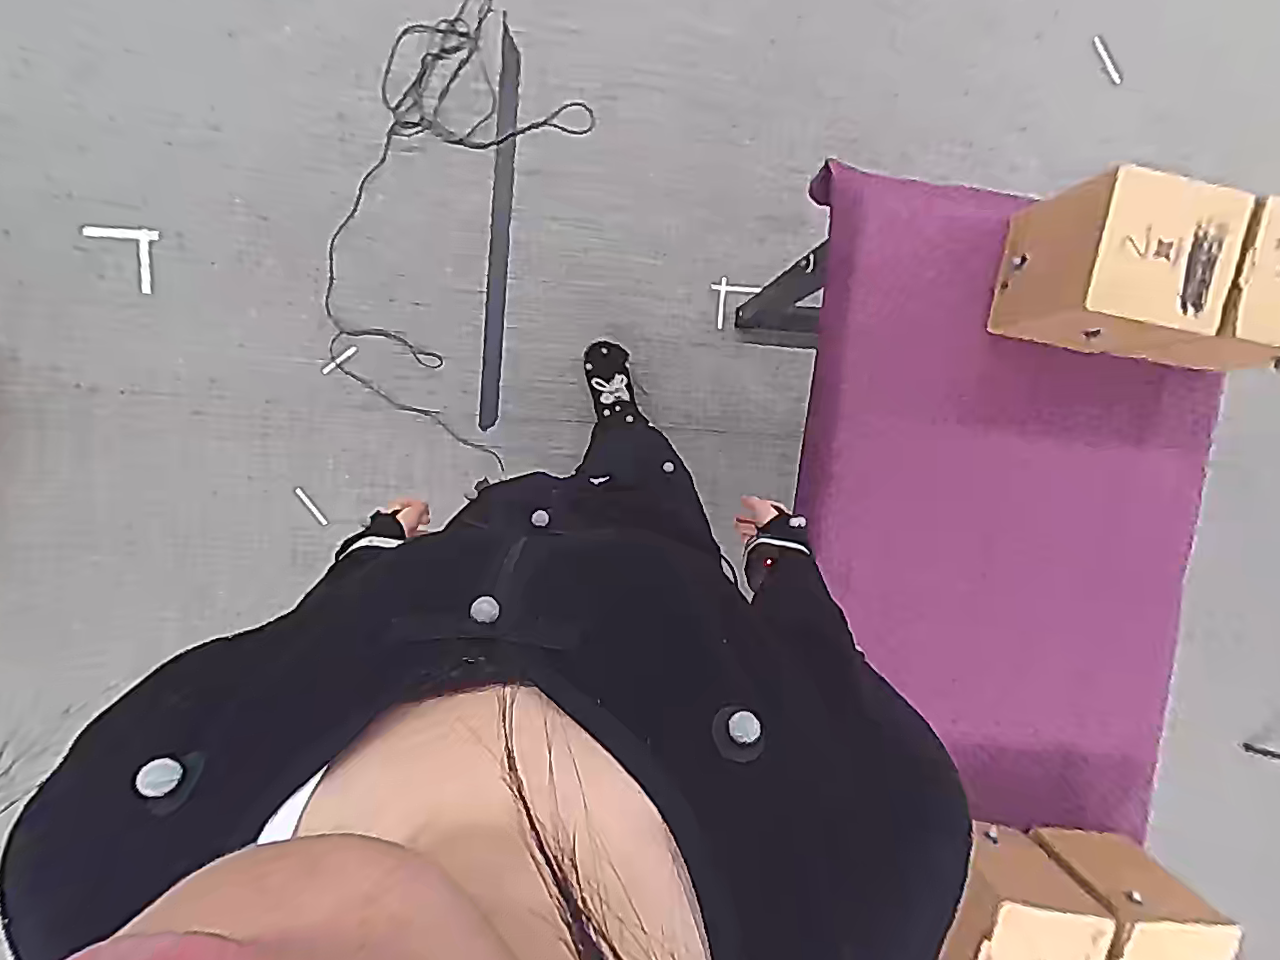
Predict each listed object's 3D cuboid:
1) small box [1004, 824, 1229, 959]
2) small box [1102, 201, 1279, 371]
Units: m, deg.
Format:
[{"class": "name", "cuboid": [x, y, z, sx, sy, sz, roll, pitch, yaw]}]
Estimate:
[{"class": "small box", "cuboid": [0.712, 0.664, 0.827, 0.179, 0.176, 0.168, 8, 96, -7]}, {"class": "small box", "cuboid": [0.795, -0.246, 0.732, 0.179, 0.176, 0.168, 9, 95, -5]}]
